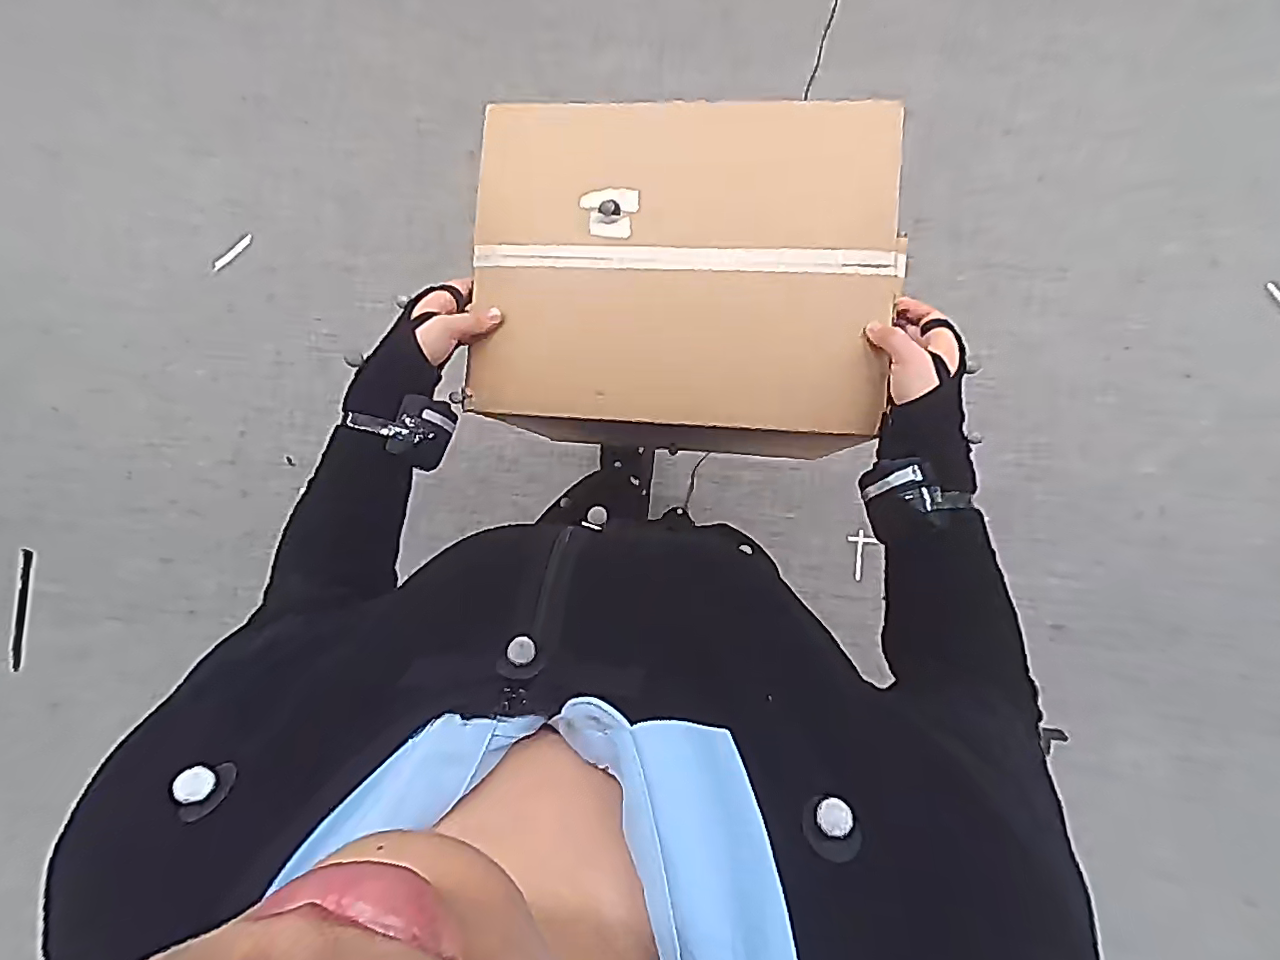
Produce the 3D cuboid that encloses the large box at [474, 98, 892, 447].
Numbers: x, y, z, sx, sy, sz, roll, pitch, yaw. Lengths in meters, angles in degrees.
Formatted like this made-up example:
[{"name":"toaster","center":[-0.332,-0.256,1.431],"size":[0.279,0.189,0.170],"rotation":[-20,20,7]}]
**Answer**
[{"name":"large box","center":[0.056,-0.211,0.677],"size":[0.408,0.320,0.320],"rotation":[4,88,8]}]
